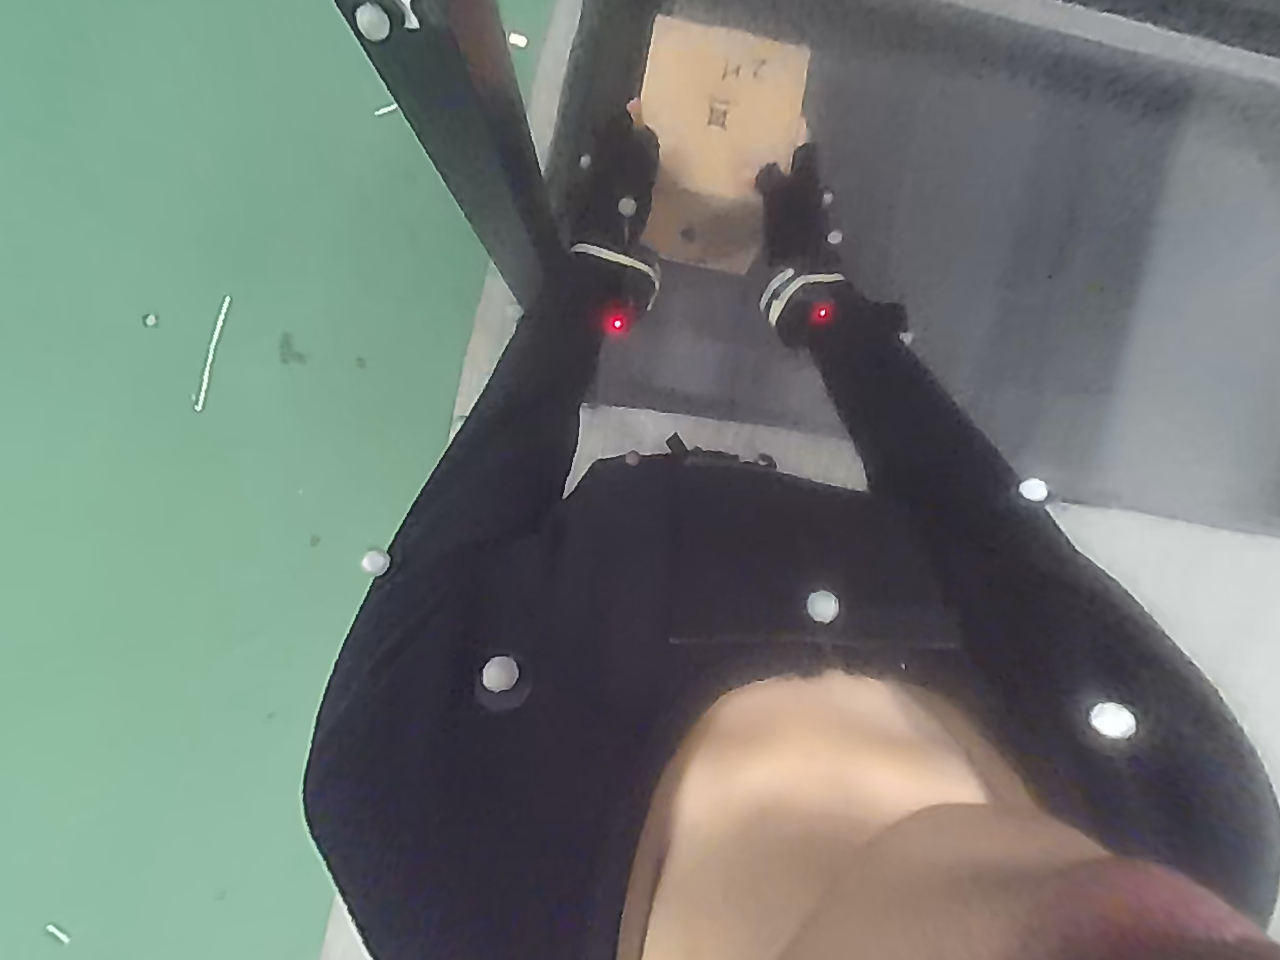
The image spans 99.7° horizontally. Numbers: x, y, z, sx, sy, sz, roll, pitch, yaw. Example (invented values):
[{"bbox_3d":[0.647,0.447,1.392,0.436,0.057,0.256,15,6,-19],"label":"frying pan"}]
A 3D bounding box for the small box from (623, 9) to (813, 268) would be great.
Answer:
[{"bbox_3d":[0.077,-0.370,0.621,0.168,0.176,0.179,11,88,-3],"label":"small box"}]
